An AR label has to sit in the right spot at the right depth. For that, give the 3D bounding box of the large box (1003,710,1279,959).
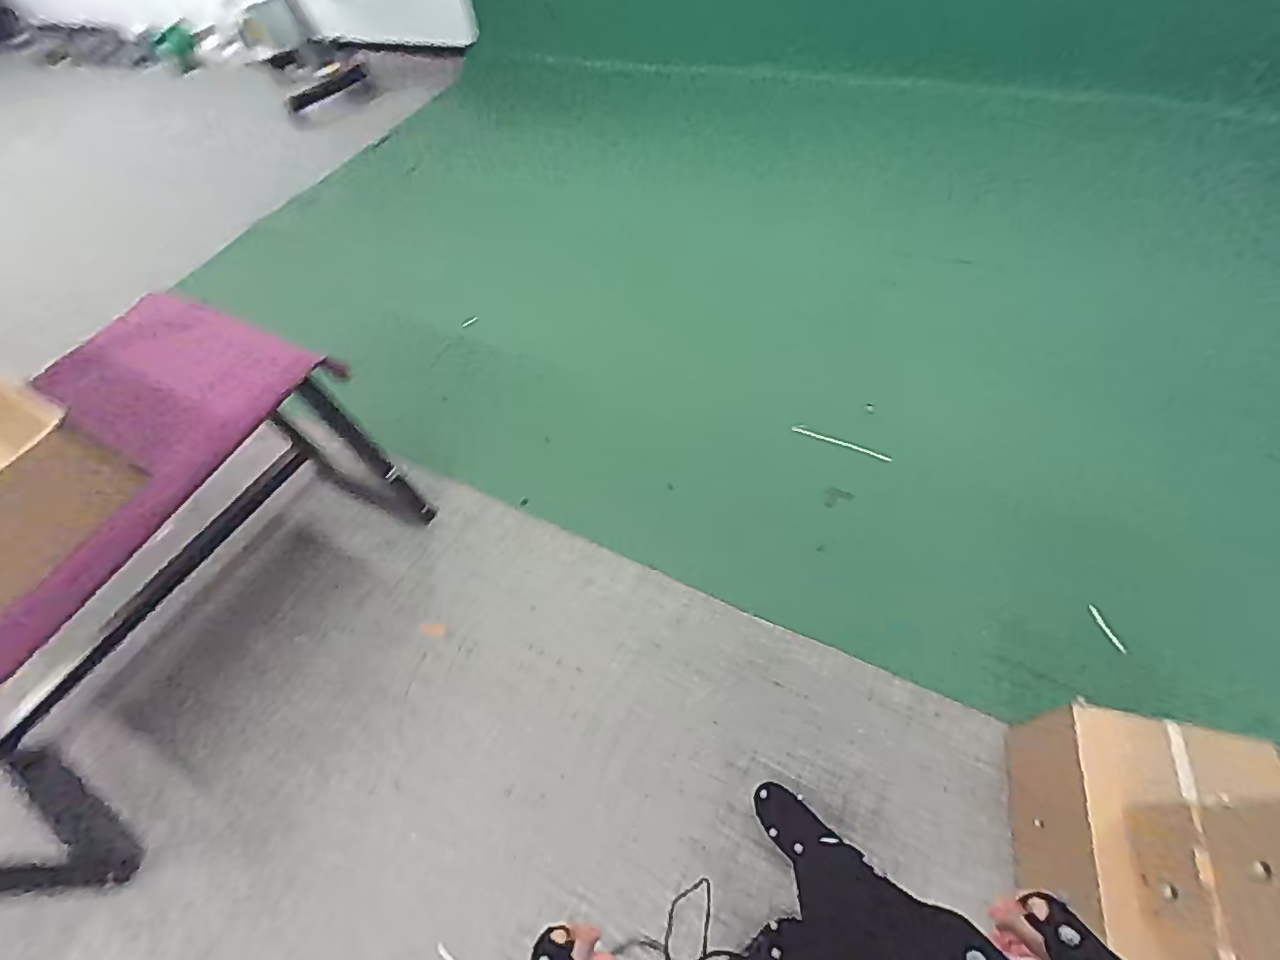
[{"bbox_3d":[0.922,0.702,1.002,0.320,0.320,0.408,9,57,13],"label":"large box"}]

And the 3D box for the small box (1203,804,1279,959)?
[{"bbox_3d":[0.847,0.511,0.646,0.168,0.176,0.179,8,58,14],"label":"small box"}]

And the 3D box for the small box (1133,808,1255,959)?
[{"bbox_3d":[0.866,0.599,0.783,0.179,0.176,0.168,9,59,15],"label":"small box"}]
